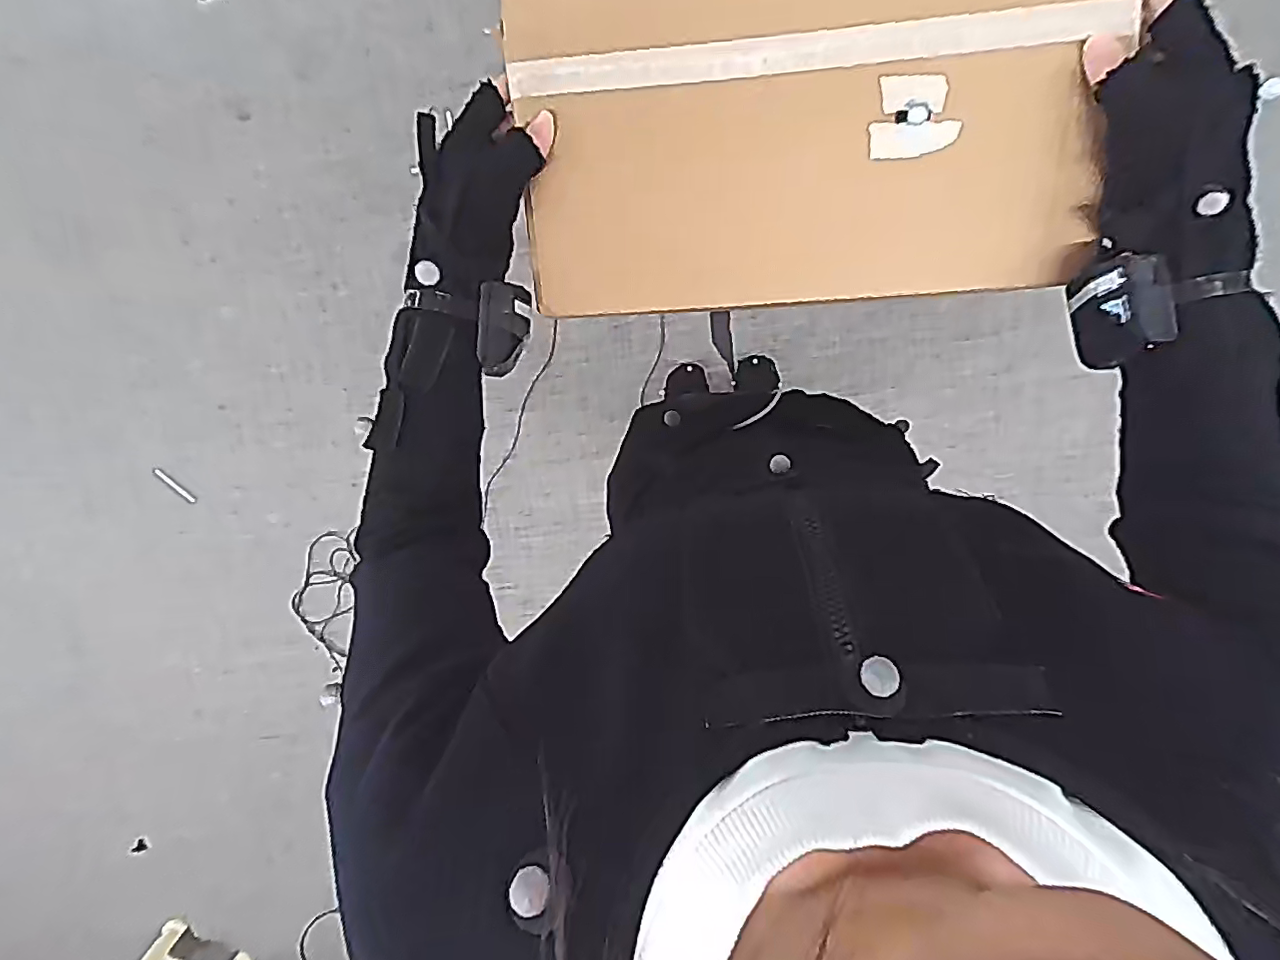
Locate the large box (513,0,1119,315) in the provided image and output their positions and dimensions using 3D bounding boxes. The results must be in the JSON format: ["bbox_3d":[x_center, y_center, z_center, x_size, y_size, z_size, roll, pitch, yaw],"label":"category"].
[{"bbox_3d":[0.120,-0.333,0.511,0.408,0.320,0.320,-3,108,4],"label":"large box"}]
